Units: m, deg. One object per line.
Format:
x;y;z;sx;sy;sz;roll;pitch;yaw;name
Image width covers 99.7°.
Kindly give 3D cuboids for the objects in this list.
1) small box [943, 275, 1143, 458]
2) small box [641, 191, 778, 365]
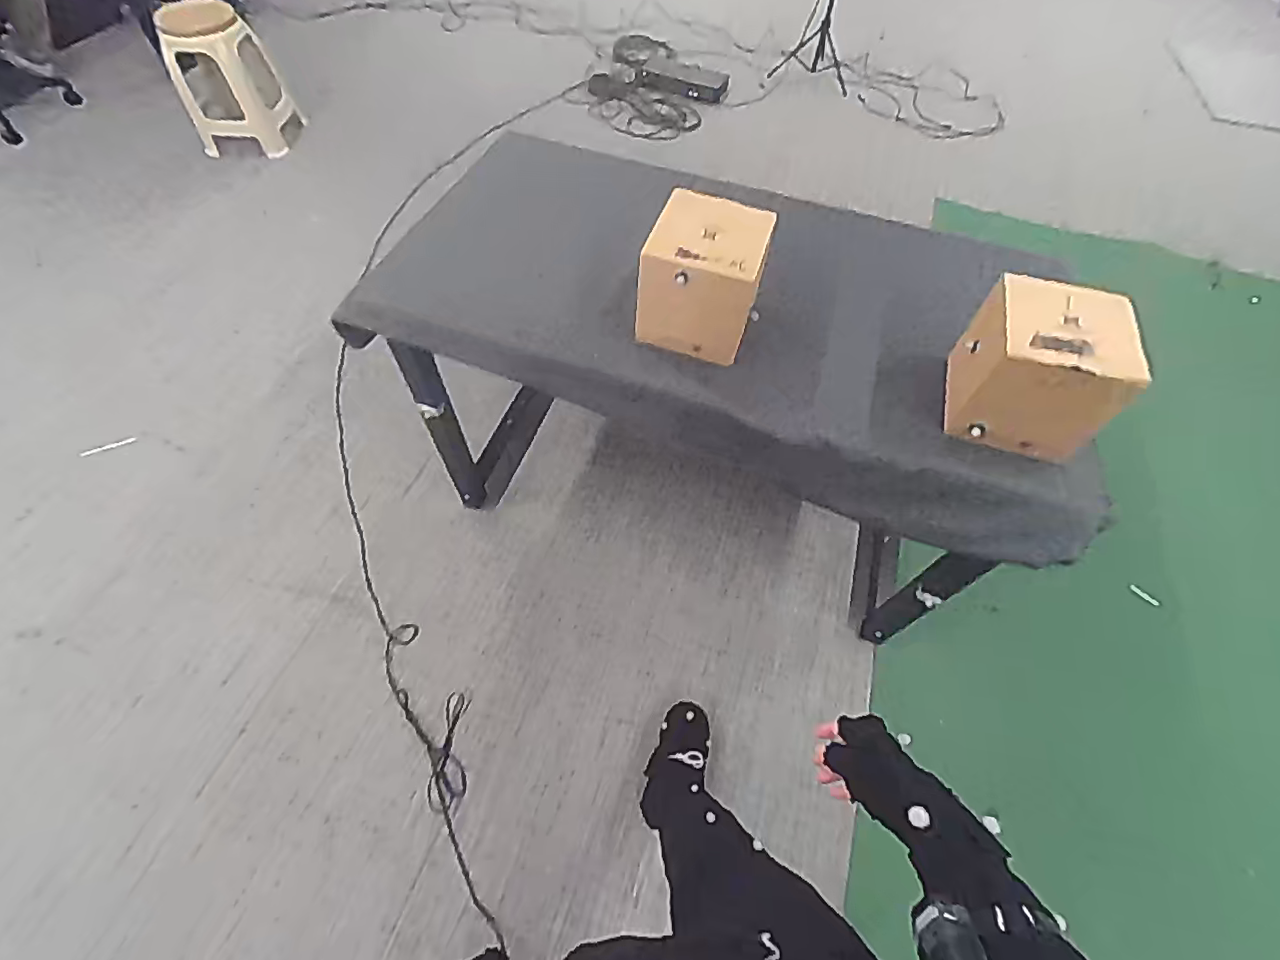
0.561;-0.159;0.779;0.168;0.176;0.179;17;58;10;small box
0.103;-0.317;0.857;0.168;0.176;0.179;18;58;8;small box
